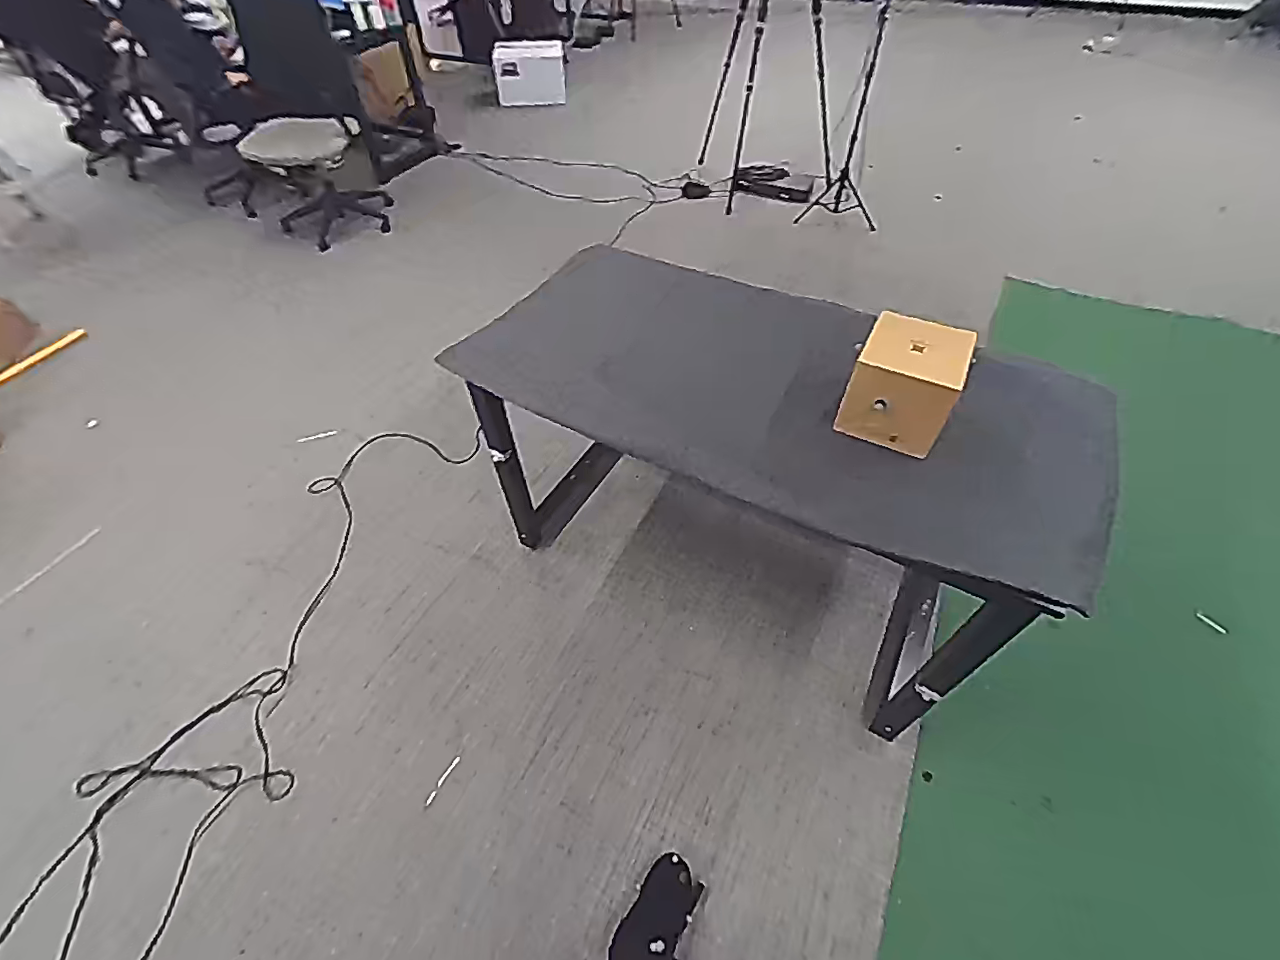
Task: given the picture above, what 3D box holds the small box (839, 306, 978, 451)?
[{"bbox_3d":[0.476,-0.180,0.977,0.168,0.176,0.179,22,54,19],"label":"small box"}]
